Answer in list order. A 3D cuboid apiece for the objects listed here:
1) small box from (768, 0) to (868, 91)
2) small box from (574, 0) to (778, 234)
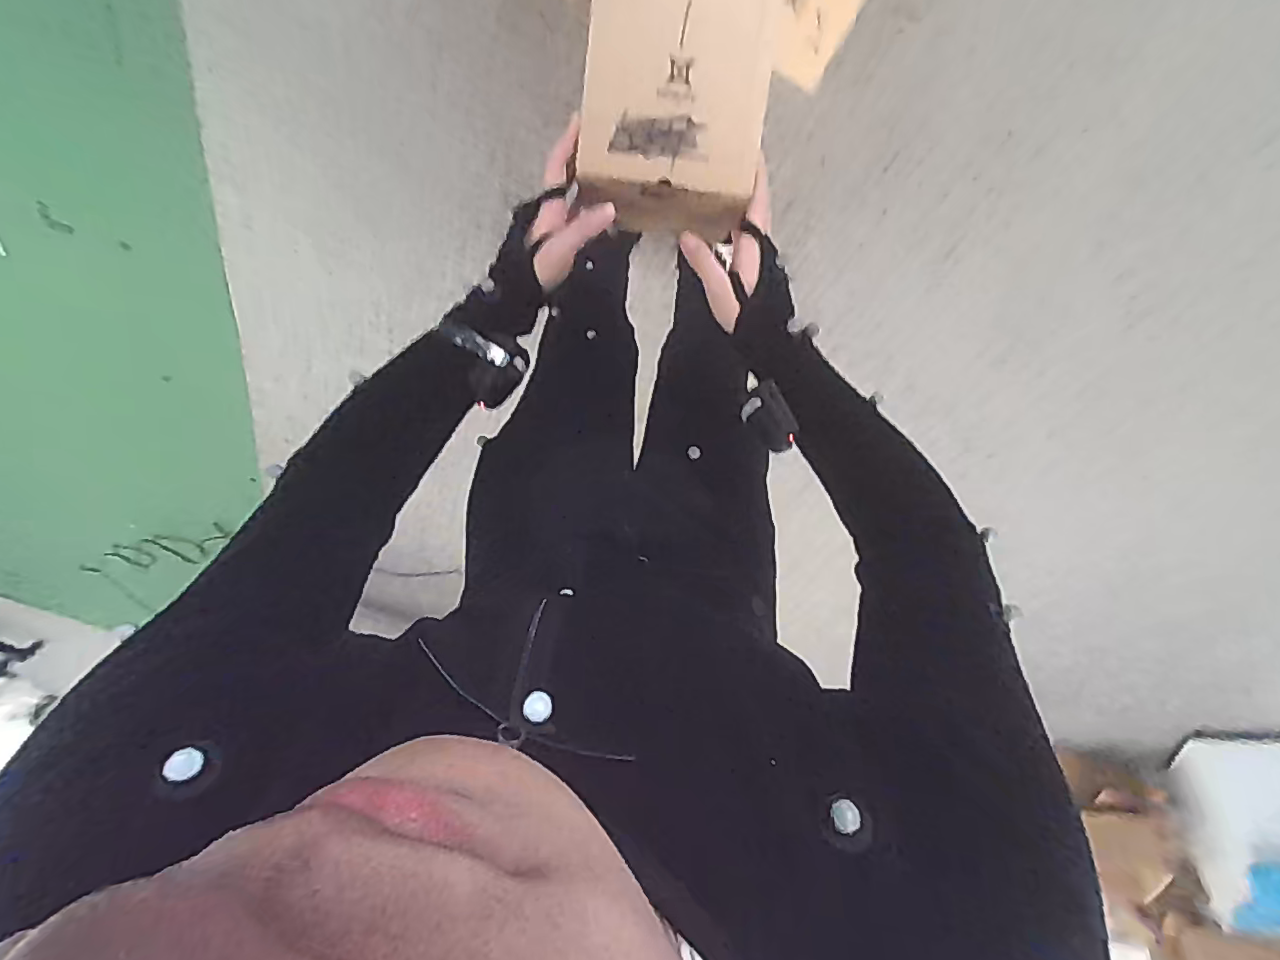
[{"bbox_3d":[0.248,-0.758,0.850,0.179,0.176,0.168,24,135,-11],"label":"small box"},{"bbox_3d":[0.030,-0.369,0.556,0.168,0.176,0.179,6,100,-2],"label":"small box"}]
